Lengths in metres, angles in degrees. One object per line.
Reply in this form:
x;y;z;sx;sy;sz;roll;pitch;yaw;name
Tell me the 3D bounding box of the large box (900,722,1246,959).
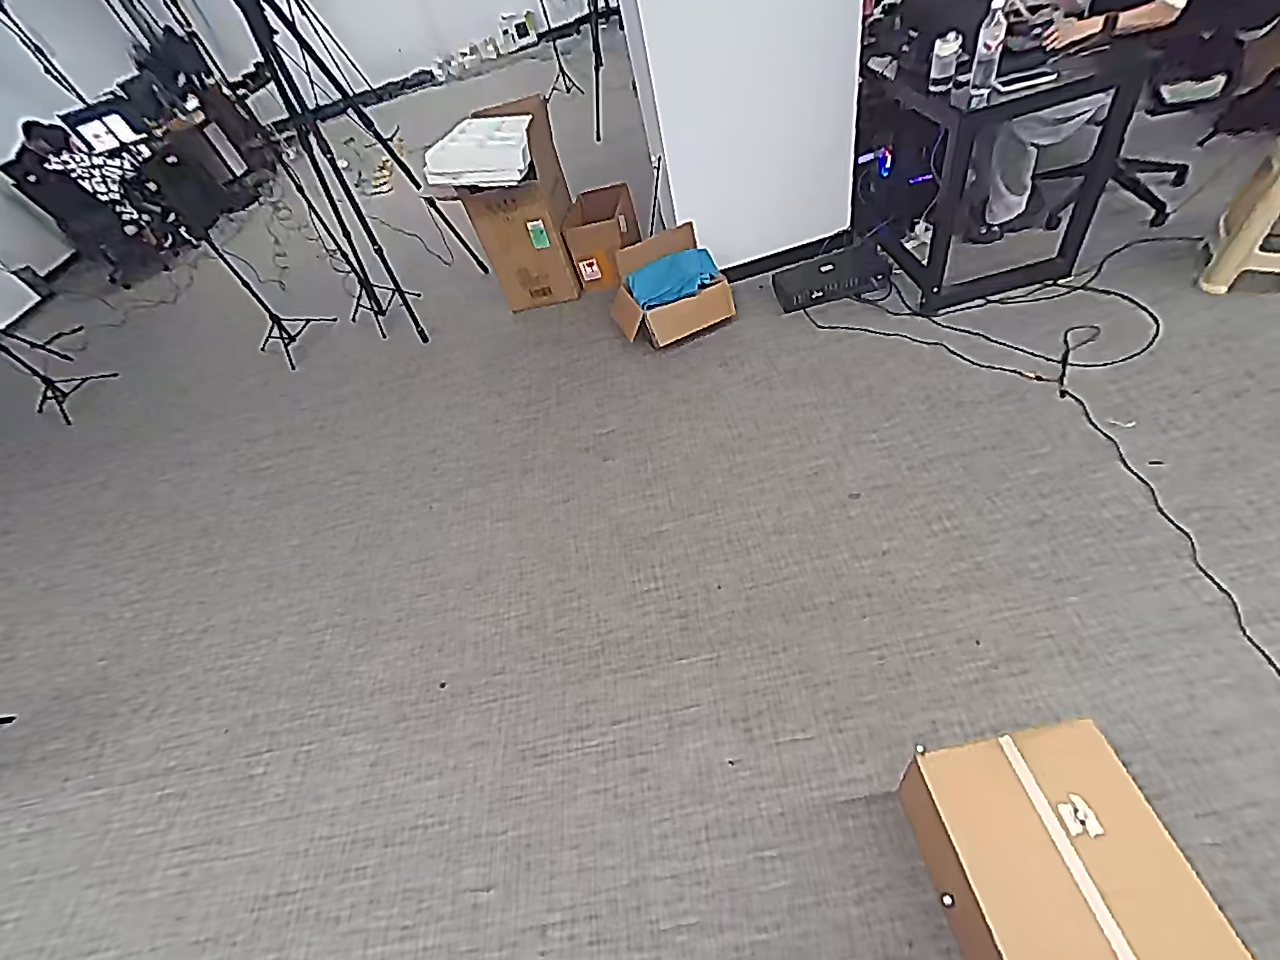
0.715;0.714;0.960;0.320;0.320;0.408;-14;46;5;large box
